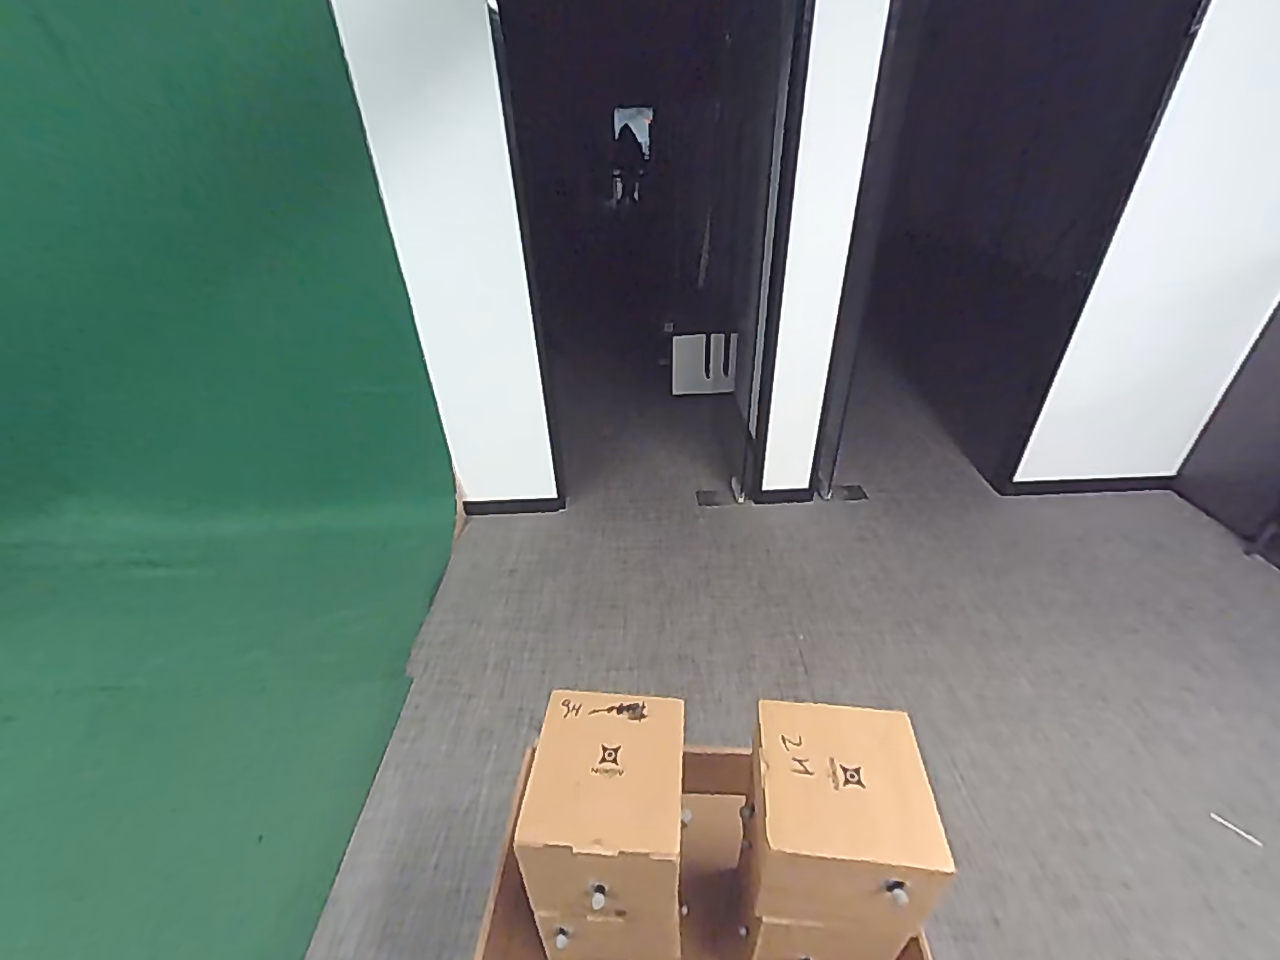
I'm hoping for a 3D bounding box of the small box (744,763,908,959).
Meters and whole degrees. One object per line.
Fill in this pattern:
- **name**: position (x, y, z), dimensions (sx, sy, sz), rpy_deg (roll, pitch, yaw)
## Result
- **small box**: position (0.229, 0.511, 0.717), dimensions (0.168, 0.176, 0.179), rpy_deg (1, 35, 7)
